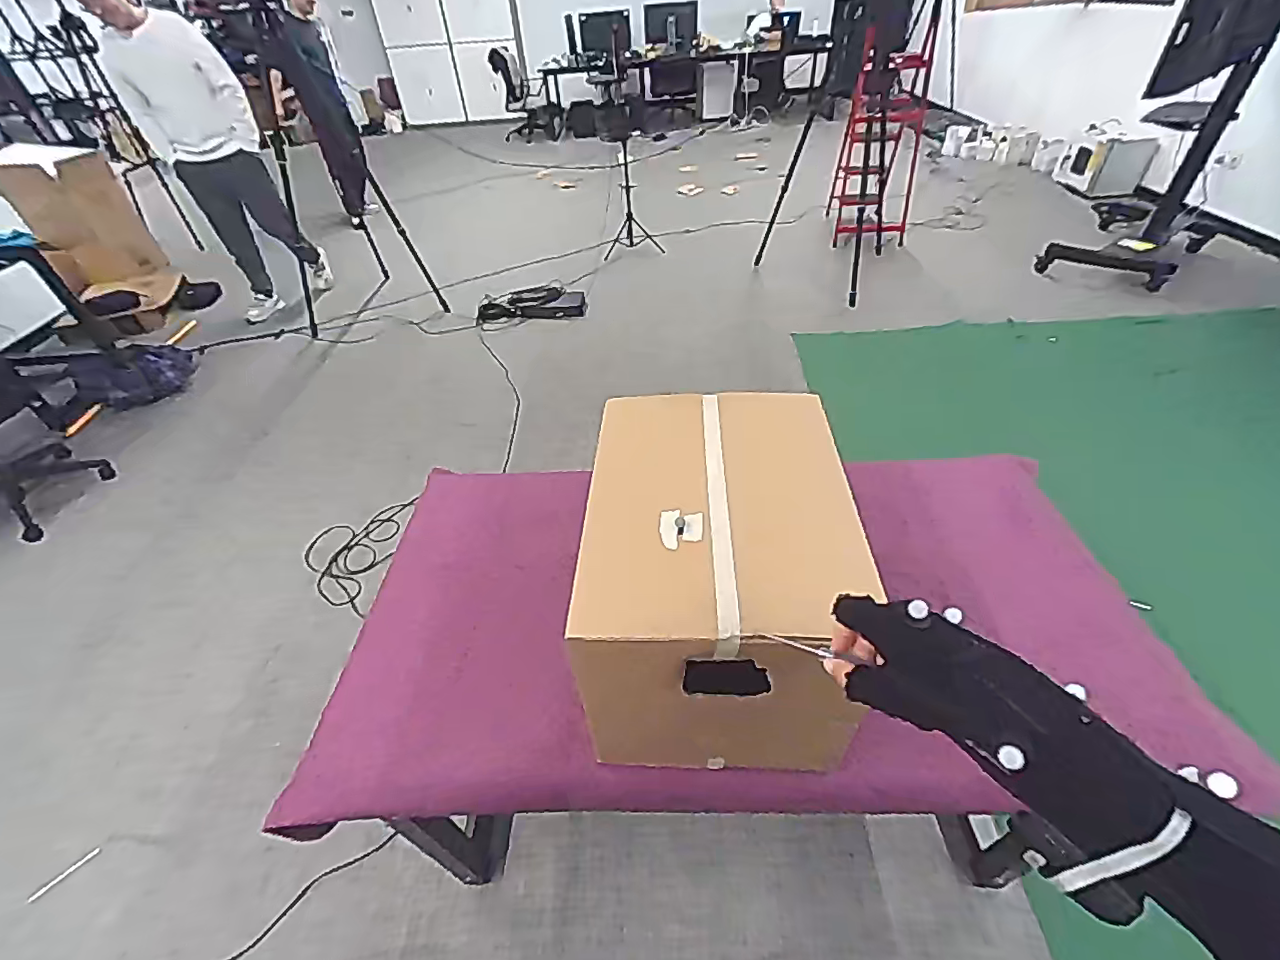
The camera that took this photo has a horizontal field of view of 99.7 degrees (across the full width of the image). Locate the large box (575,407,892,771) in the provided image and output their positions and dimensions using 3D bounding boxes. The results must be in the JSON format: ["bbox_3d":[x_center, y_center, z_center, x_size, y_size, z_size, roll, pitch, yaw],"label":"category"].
[{"bbox_3d":[0.101,0.138,0.764,0.320,0.320,0.408,0,43,5],"label":"large box"}]
